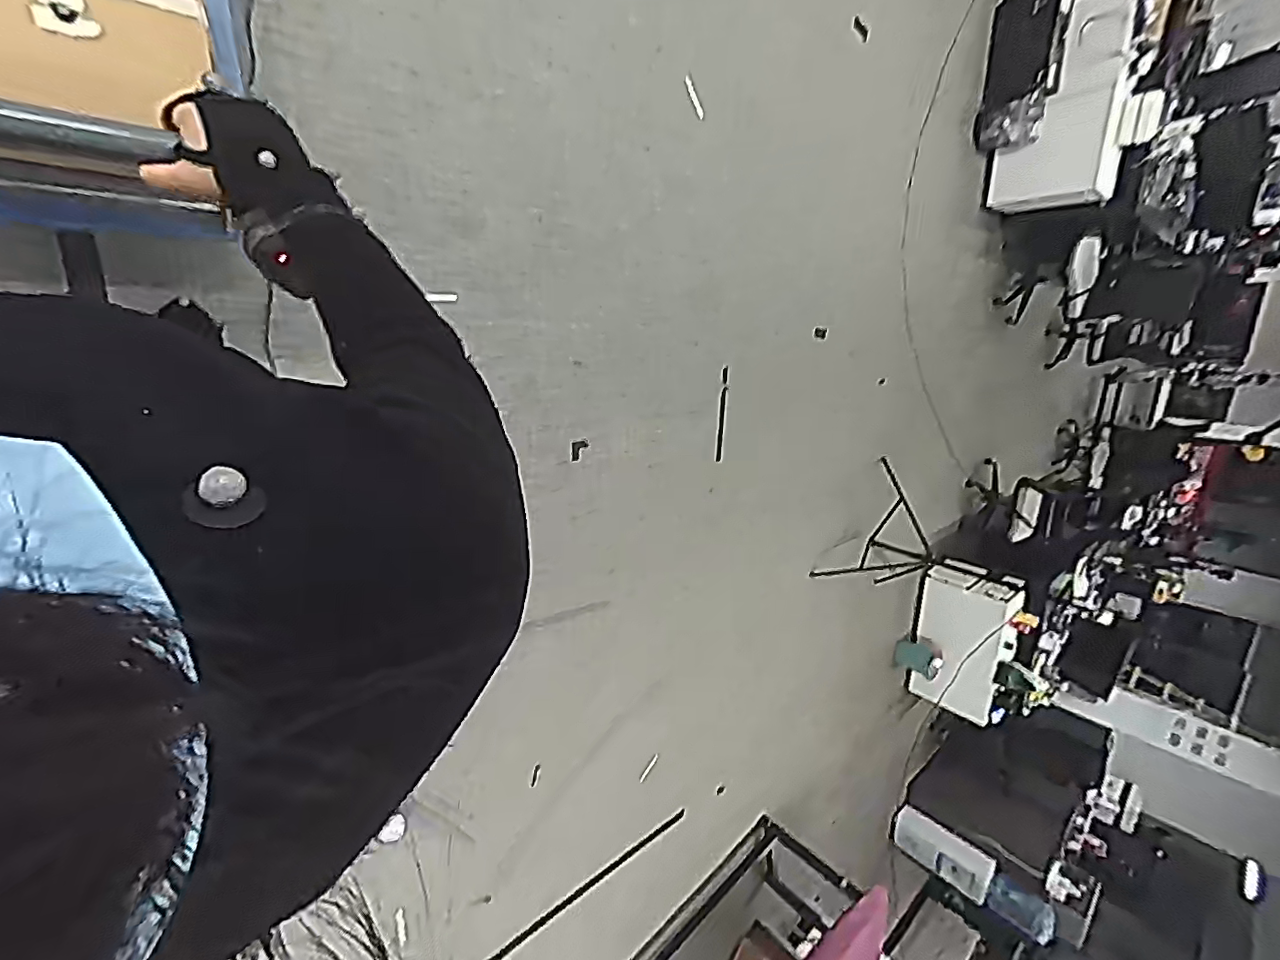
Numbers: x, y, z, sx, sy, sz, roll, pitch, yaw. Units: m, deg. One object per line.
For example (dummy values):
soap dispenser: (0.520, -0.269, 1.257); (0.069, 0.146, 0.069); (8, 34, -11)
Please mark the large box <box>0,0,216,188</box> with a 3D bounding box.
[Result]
large box: (-0.835, -0.600, 0.691); (0.408, 0.320, 0.320); (-12, 111, -40)
